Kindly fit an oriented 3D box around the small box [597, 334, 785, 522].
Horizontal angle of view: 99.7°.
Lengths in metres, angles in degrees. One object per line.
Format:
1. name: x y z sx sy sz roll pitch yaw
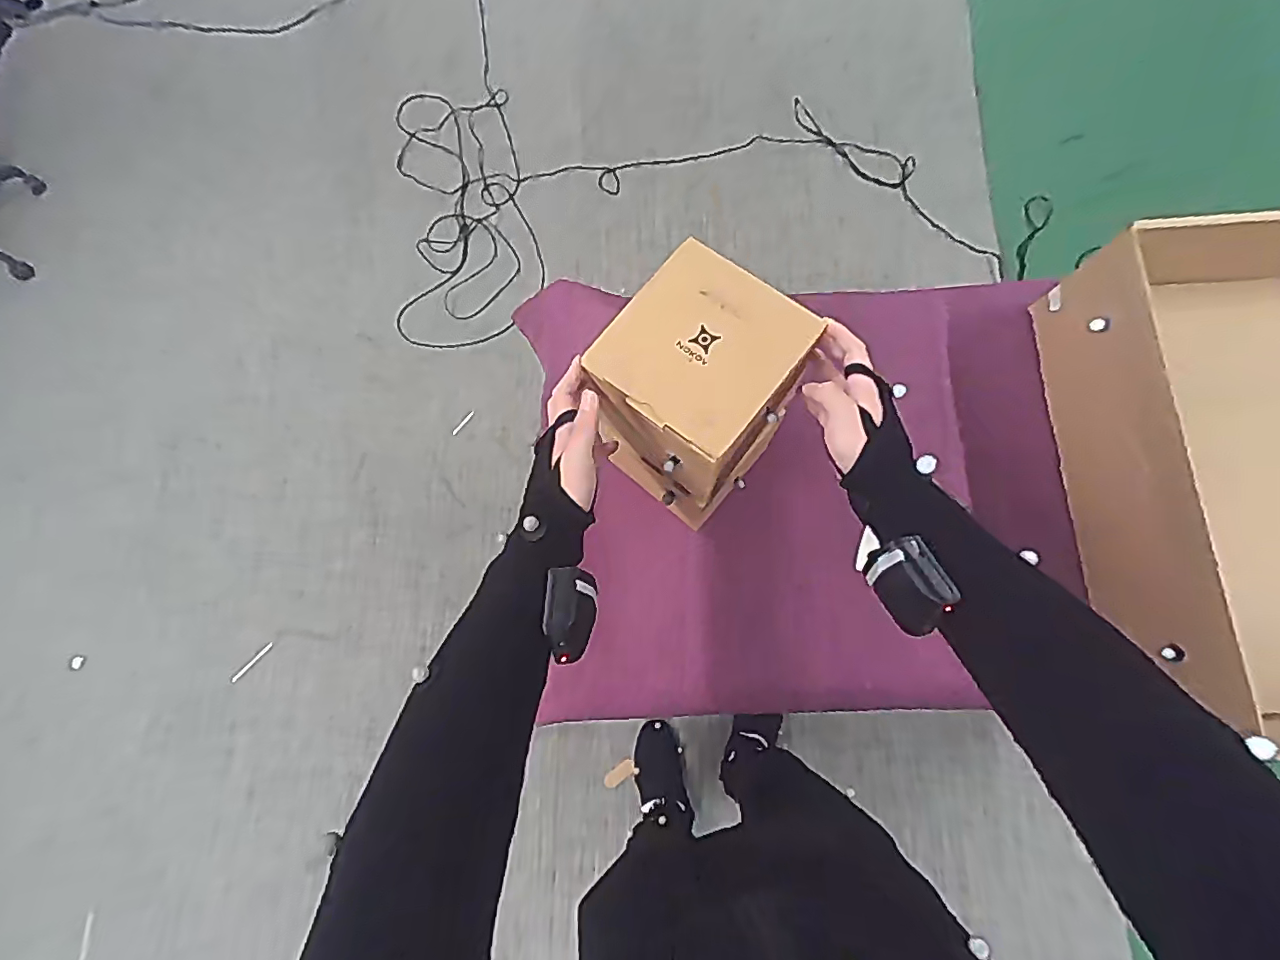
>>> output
1. small box: 0.067 -0.058 0.746 0.179 0.176 0.168 40 81 12
